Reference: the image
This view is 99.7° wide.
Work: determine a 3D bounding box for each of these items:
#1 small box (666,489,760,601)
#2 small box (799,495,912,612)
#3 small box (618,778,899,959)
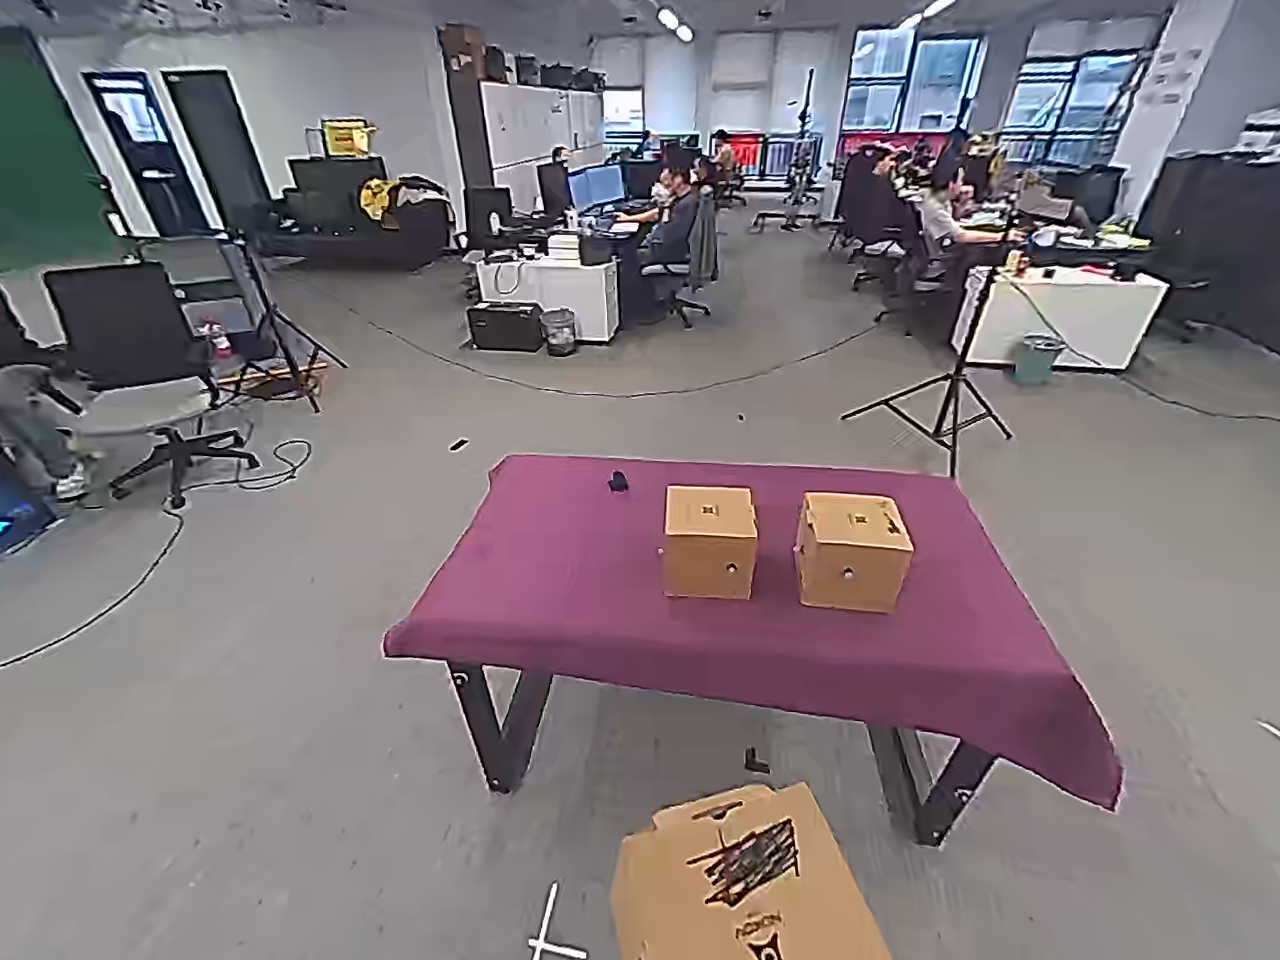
[{"bbox_3d":[0.145,0.135,1.124,0.179,0.176,0.168,0,32,4],"label":"small box"},{"bbox_3d":[0.422,0.147,1.094,0.179,0.176,0.168,3,34,8],"label":"small box"},{"bbox_3d":[0.083,0.379,0.428,0.168,0.176,0.179,-8,41,-16],"label":"small box"}]
